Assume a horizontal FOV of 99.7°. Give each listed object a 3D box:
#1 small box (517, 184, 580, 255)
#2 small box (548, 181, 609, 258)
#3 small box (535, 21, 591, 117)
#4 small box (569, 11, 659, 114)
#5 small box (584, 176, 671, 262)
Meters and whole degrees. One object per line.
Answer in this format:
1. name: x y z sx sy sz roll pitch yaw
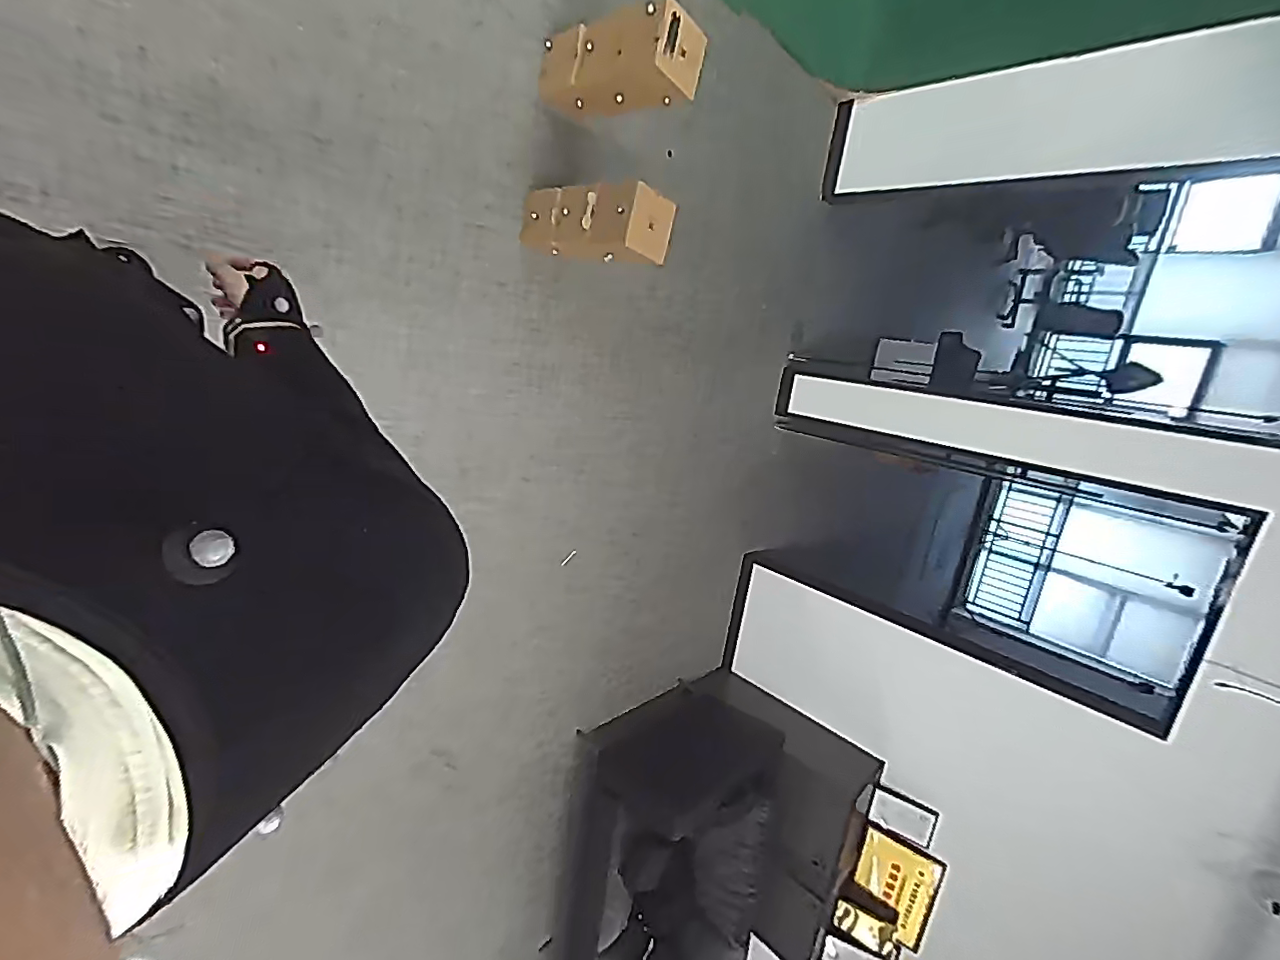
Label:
1. small box: -0.281 -0.845 1.775 0.179 0.176 0.168 -1 107 -47
2. small box: -0.156 -0.801 1.677 0.179 0.176 0.168 5 101 -49
3. small box: -0.204 -1.266 1.684 0.179 0.176 0.168 2 105 -50
4. small box: -0.080 -1.227 1.599 0.179 0.176 0.168 -57 137 -15
5. small box: -0.040 -0.750 1.573 0.168 0.176 0.179 5 102 -48
